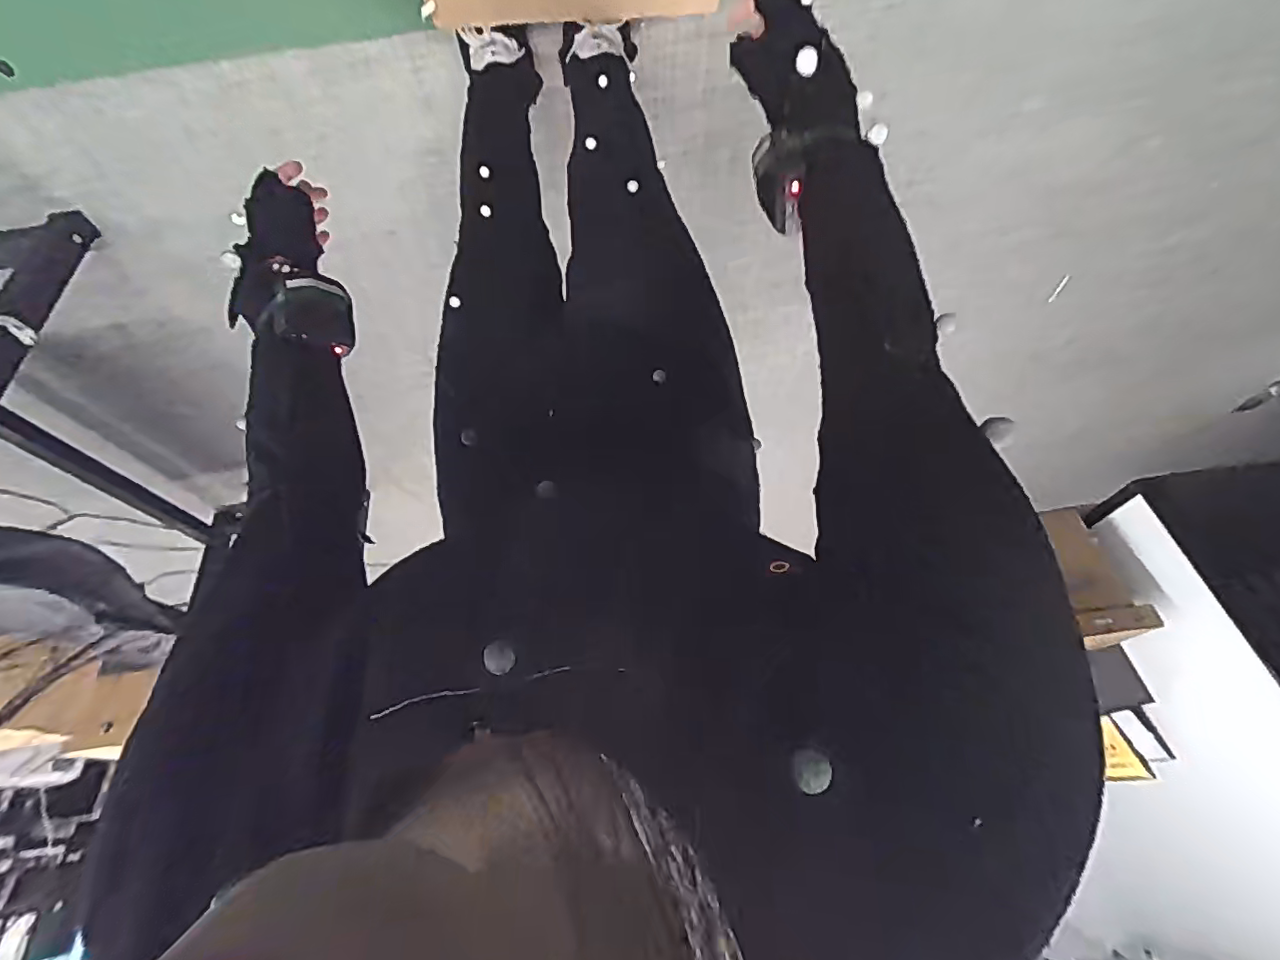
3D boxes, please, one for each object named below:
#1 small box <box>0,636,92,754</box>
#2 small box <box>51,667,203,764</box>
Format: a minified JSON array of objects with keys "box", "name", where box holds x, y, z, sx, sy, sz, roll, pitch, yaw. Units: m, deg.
[{"box":[-1.196,0.403,1.003,0.179,0.176,0.168,-9,150,-3],"name":"small box"},{"box":[-1.179,0.550,1.262,0.179,0.176,0.168,-9,149,-2],"name":"small box"}]
